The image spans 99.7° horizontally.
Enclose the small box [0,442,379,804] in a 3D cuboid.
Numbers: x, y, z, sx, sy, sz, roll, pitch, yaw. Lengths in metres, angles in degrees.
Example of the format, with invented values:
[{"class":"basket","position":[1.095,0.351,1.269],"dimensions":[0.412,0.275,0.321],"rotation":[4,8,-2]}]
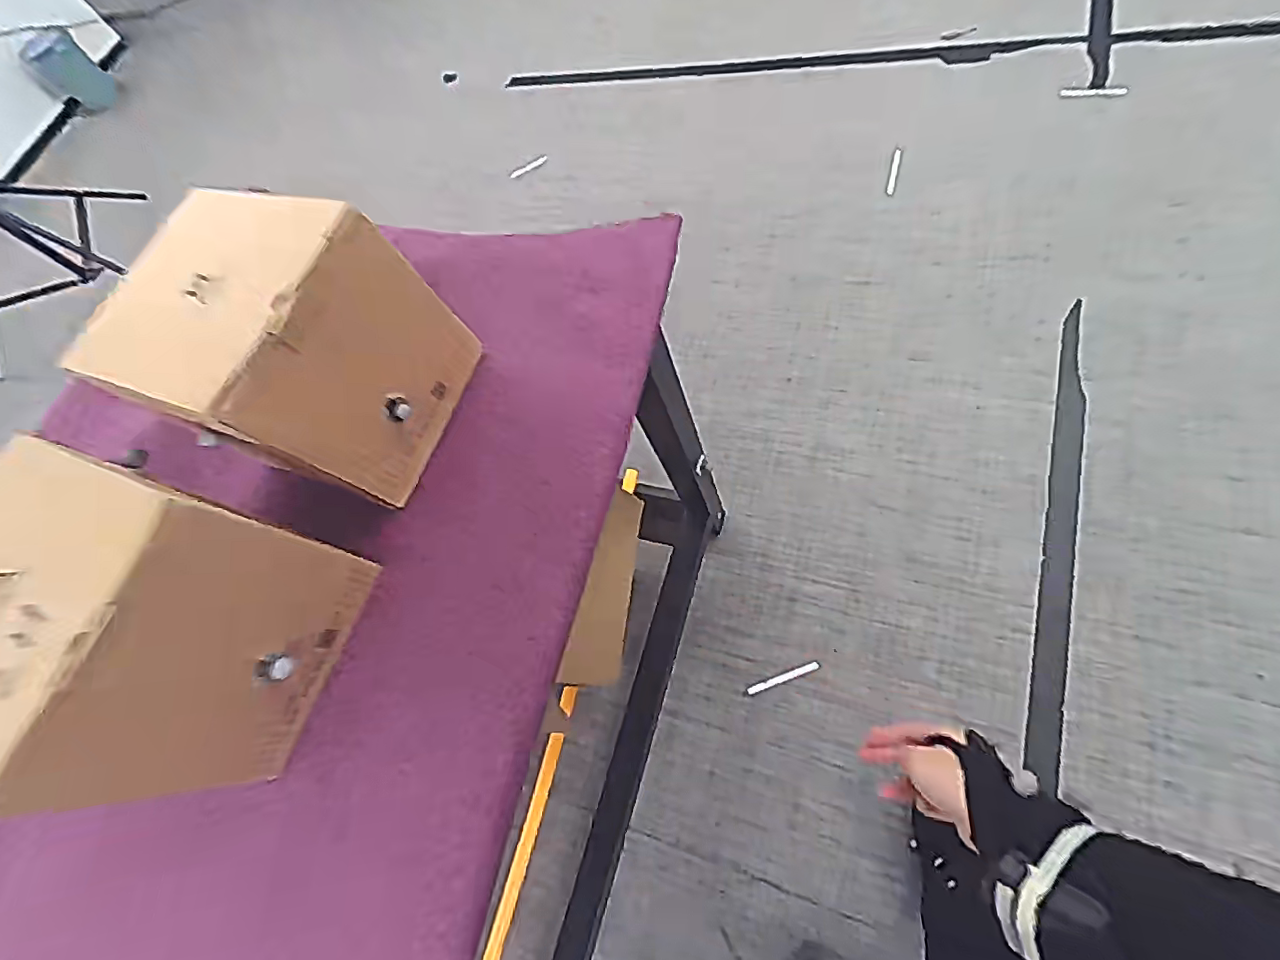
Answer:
[{"class":"small box","position":[-0.333,0.096,0.378],"dimensions":[0.179,0.176,0.168],"rotation":[15,73,21]}]

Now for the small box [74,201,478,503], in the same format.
[{"class":"small box","position":[-0.272,-0.095,0.441],"dimensions":[0.179,0.176,0.168],"rotation":[15,73,21]}]
